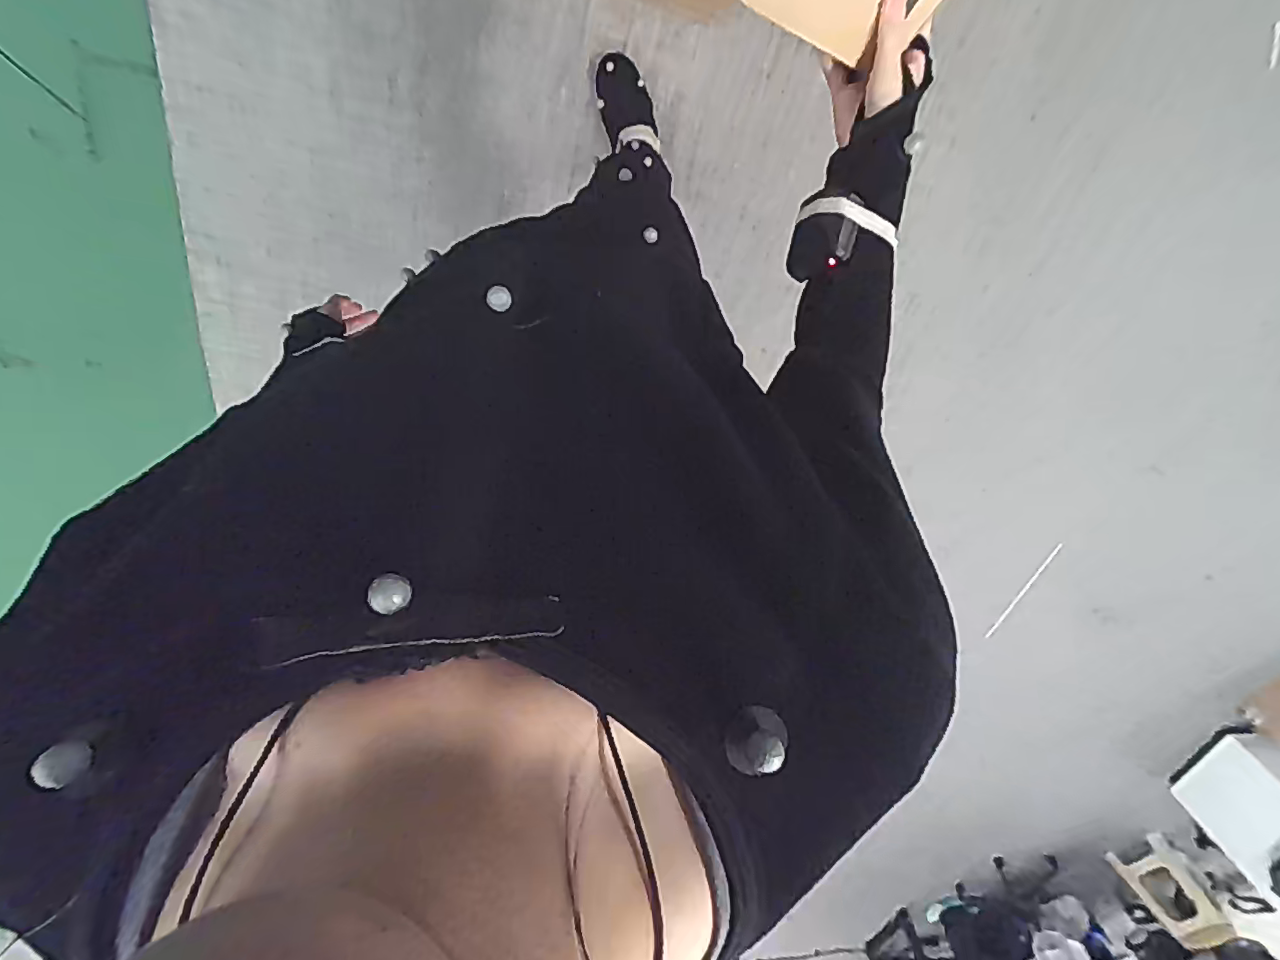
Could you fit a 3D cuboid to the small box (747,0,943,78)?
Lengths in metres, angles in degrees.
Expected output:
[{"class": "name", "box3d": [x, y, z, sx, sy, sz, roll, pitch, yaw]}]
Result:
[{"class": "small box", "box3d": [0.152, -0.452, 0.392, 0.179, 0.176, 0.168, -4, 154, -34]}]

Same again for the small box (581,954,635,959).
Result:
[{"class": "small box", "box3d": [-0.109, 1.627, 1.702, 0.179, 0.176, 0.168, 10, 120, -10]}]
